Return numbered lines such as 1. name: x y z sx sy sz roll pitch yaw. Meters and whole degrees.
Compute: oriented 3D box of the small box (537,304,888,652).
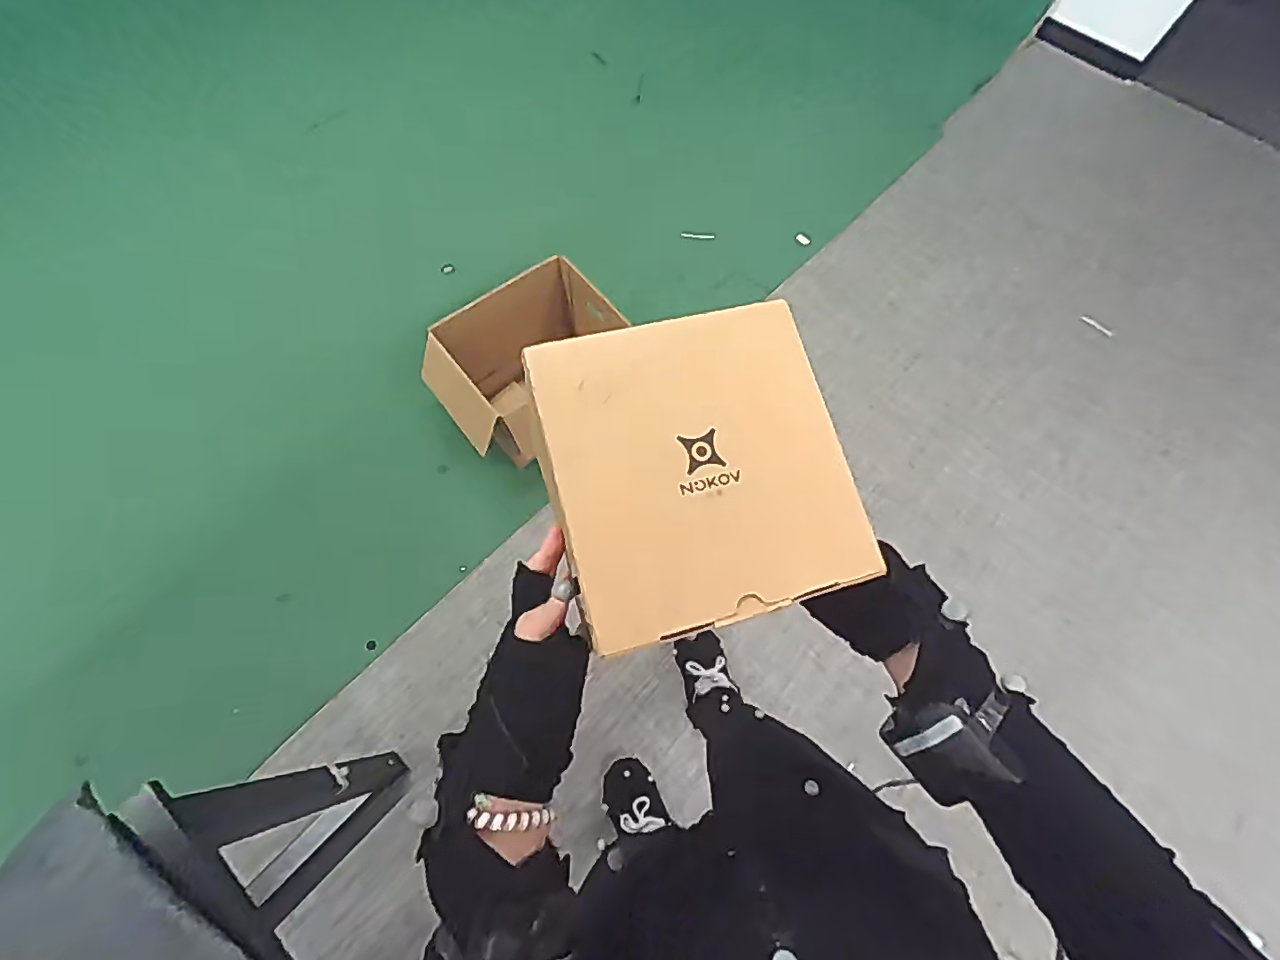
1. small box: 0.027 0.008 0.378 0.168 0.176 0.179 -14 79 -12
